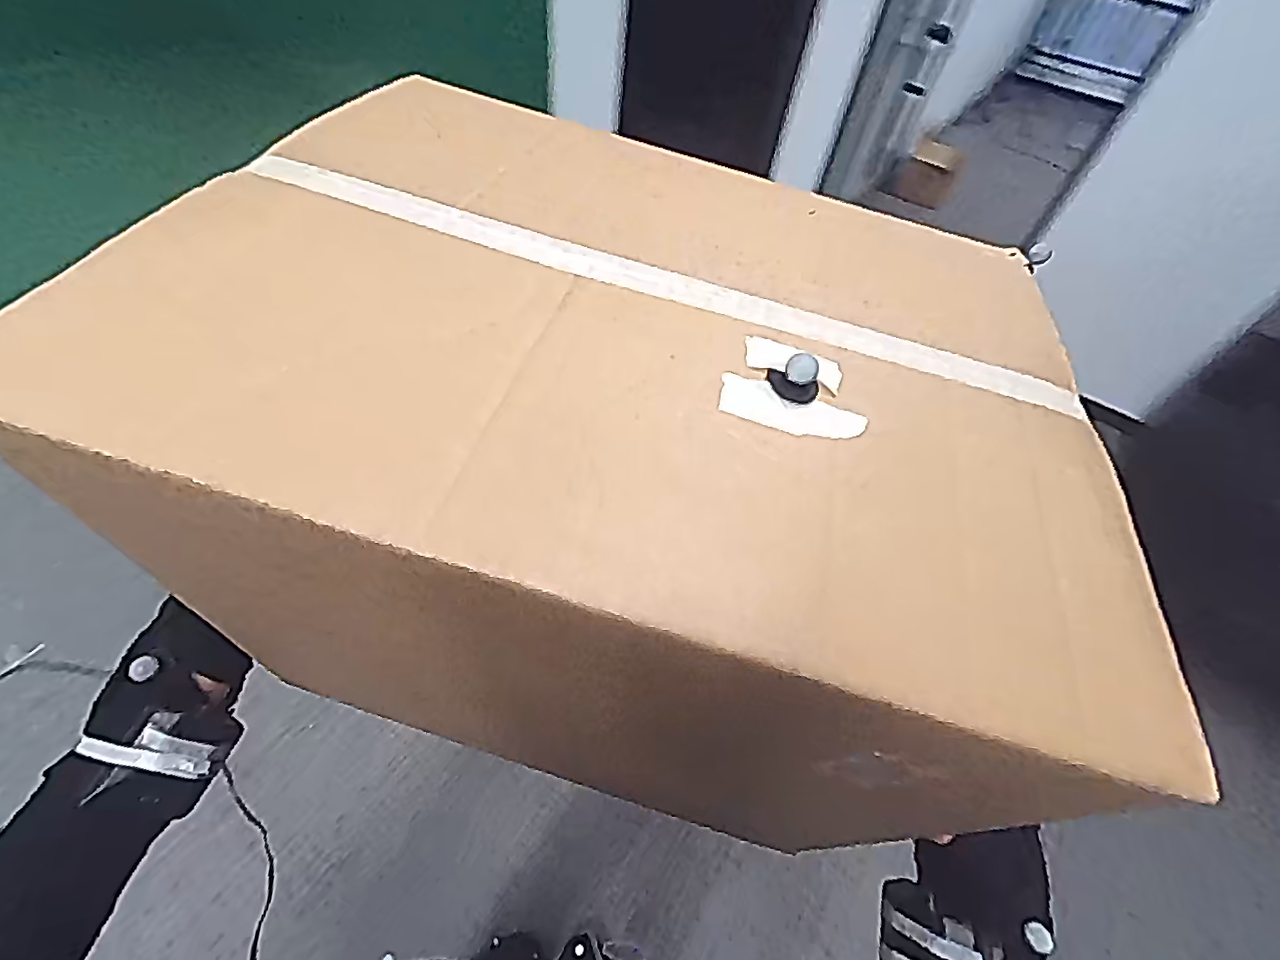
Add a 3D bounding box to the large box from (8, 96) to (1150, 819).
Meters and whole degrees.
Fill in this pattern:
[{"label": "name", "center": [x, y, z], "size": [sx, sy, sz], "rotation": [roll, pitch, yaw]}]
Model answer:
[{"label": "large box", "center": [-0.014, 0.001, 0.385], "size": [0.408, 0.320, 0.320], "rotation": [17, 53, 1]}]
